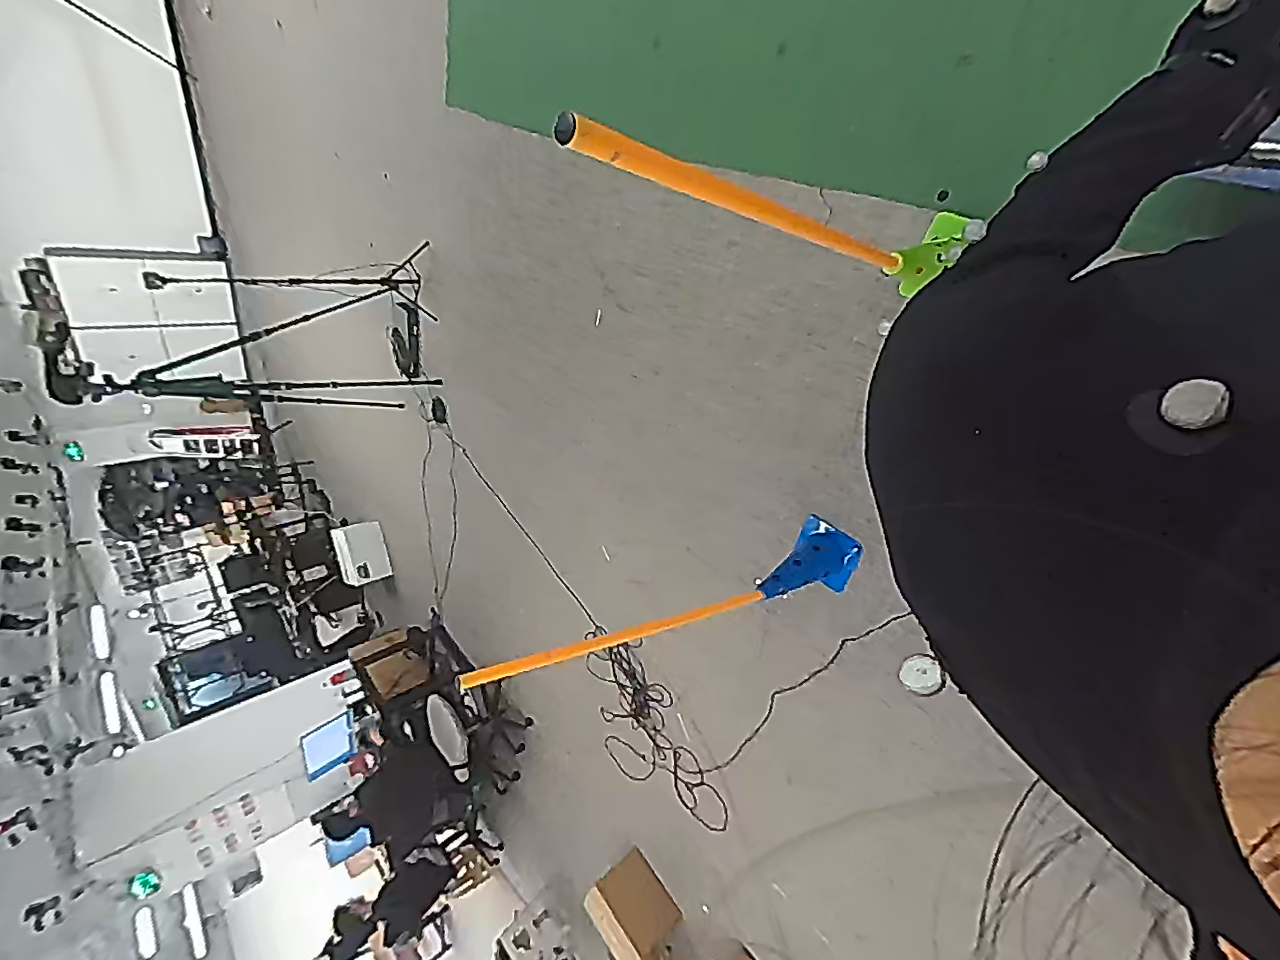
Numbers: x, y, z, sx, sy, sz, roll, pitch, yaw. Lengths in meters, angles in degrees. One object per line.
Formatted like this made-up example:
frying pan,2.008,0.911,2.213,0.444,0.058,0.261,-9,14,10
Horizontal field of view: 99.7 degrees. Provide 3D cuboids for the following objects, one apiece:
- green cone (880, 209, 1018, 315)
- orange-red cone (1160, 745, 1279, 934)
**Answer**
green cone,0.629,-0.482,1.180,0.202,0.368,0.200,41,130,33
orange-red cone,1.148,0.723,1.041,0.199,0.360,0.198,37,128,36
